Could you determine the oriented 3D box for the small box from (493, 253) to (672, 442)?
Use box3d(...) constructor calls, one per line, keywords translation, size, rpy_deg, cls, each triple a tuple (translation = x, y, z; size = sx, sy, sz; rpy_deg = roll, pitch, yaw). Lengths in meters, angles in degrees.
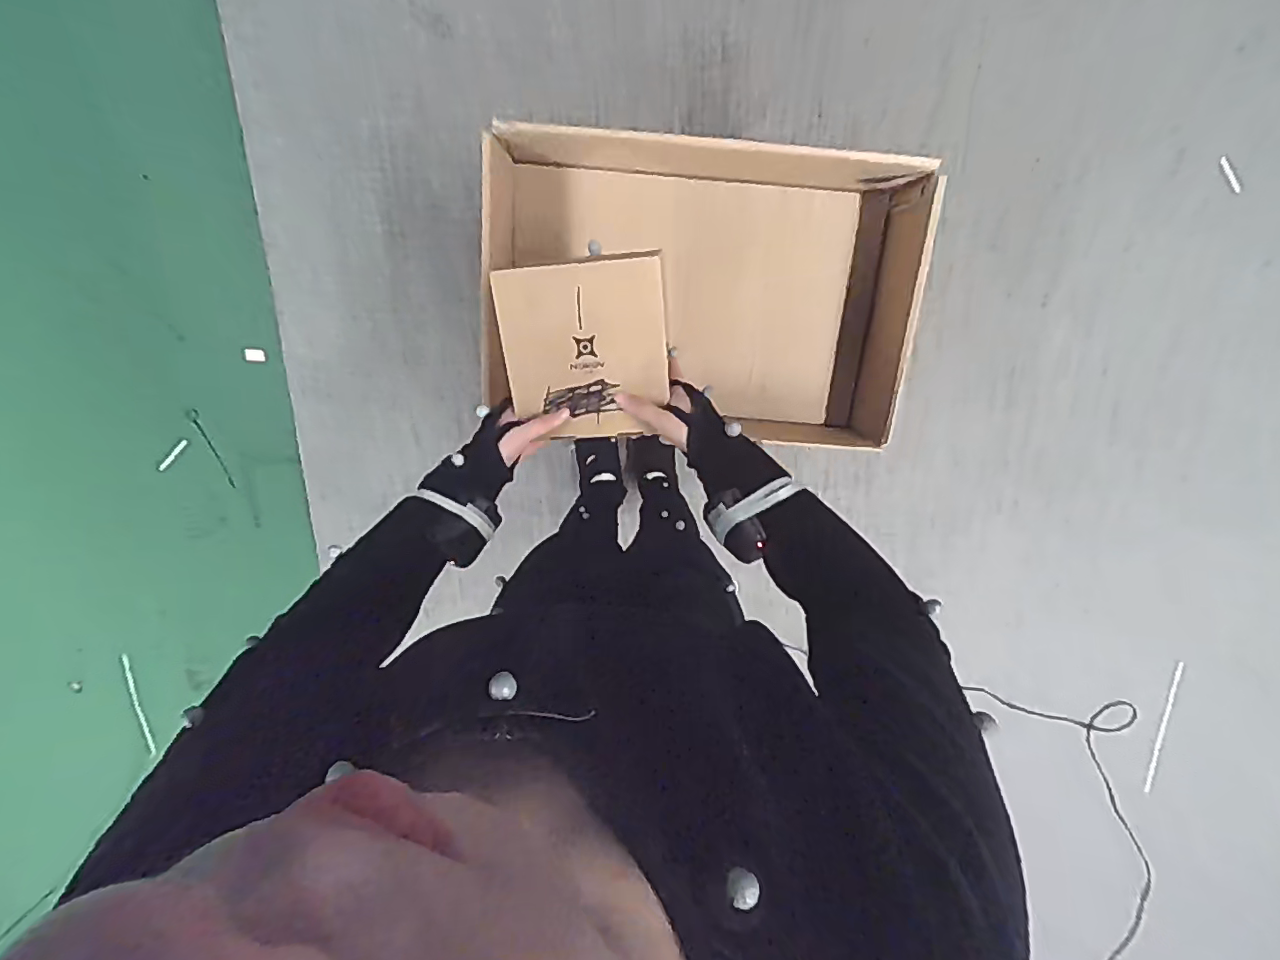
box3d(translation=(-0.049, -0.155, 0.612), size=(0.168, 0.176, 0.179), rpy_deg=(-3, 114, 4), cls="small box")
